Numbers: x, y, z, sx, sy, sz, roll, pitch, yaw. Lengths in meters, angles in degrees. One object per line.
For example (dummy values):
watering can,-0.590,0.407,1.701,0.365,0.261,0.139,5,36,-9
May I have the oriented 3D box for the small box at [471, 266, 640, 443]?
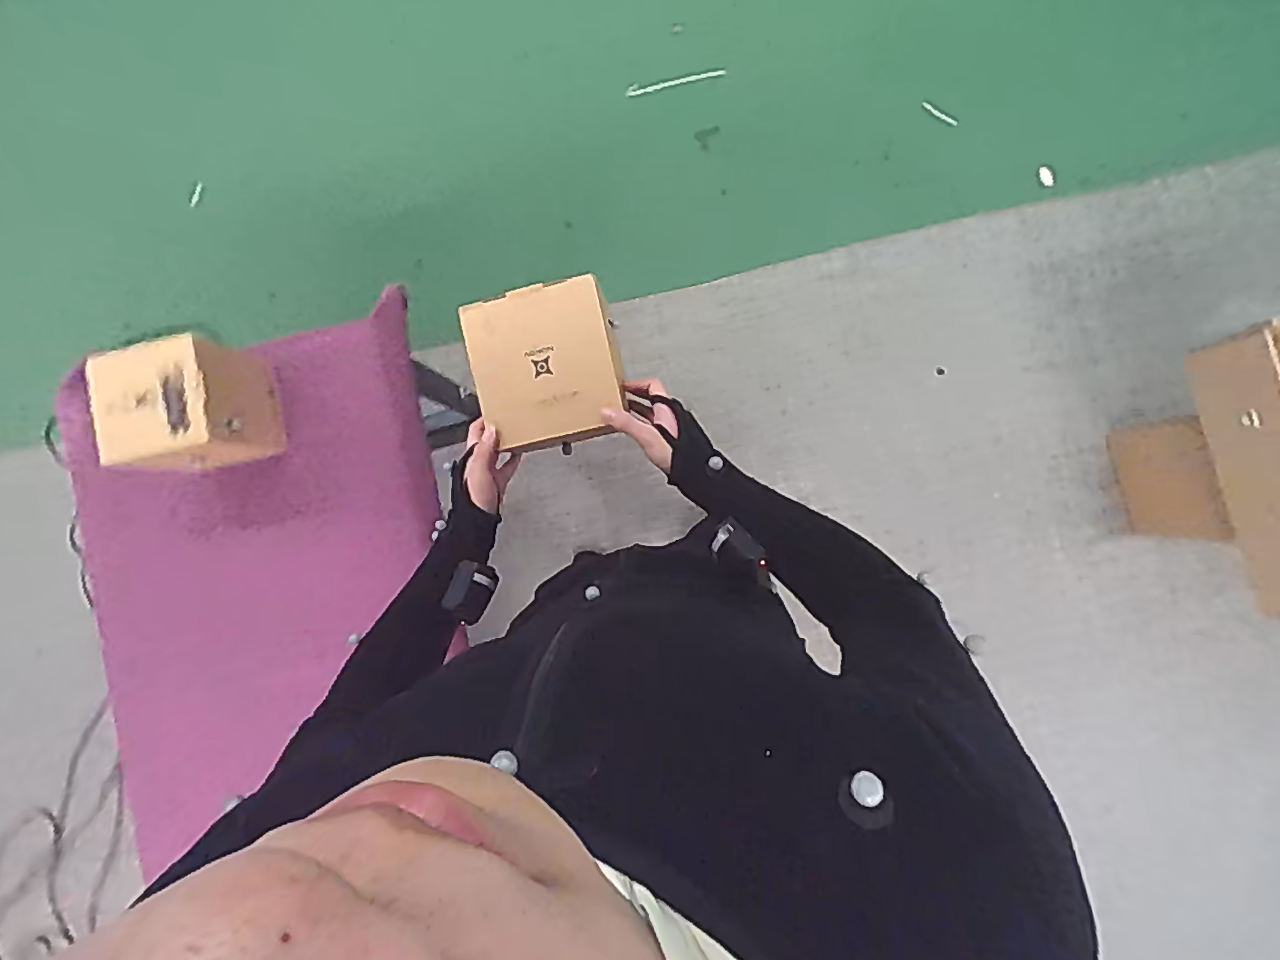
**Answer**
small box,-0.097,-0.148,0.699,0.168,0.176,0.179,-11,93,4
